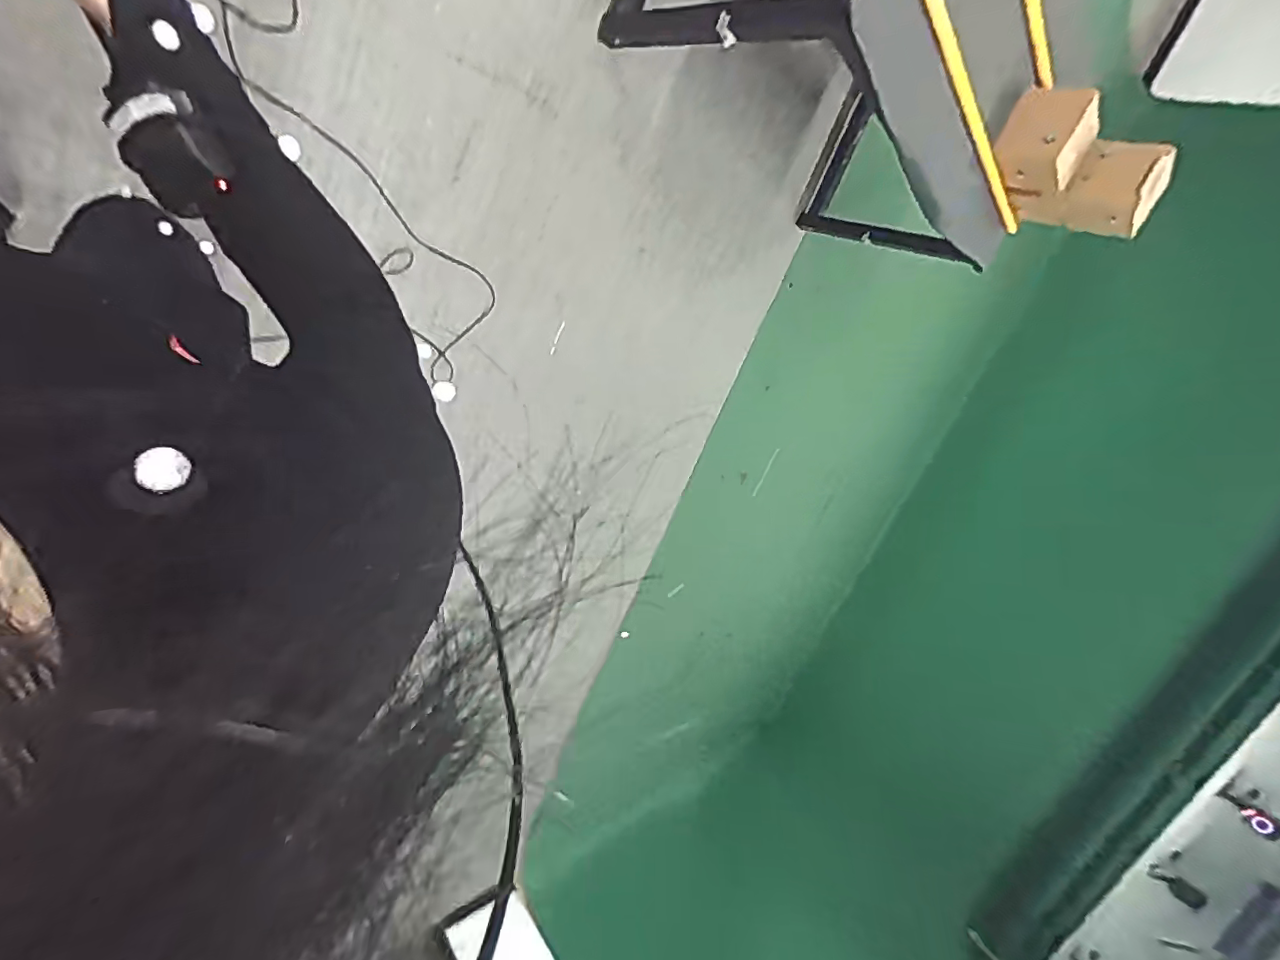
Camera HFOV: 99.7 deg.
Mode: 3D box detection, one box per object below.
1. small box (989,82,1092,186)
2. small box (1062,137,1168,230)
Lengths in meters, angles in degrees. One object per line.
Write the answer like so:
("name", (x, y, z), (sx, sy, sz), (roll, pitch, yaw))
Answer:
("small box", (1.065, -0.925, 1.450), (0.168, 0.176, 0.179), (9, 110, -49))
("small box", (1.323, -0.834, 1.519), (0.179, 0.176, 0.168), (12, 109, -50))
